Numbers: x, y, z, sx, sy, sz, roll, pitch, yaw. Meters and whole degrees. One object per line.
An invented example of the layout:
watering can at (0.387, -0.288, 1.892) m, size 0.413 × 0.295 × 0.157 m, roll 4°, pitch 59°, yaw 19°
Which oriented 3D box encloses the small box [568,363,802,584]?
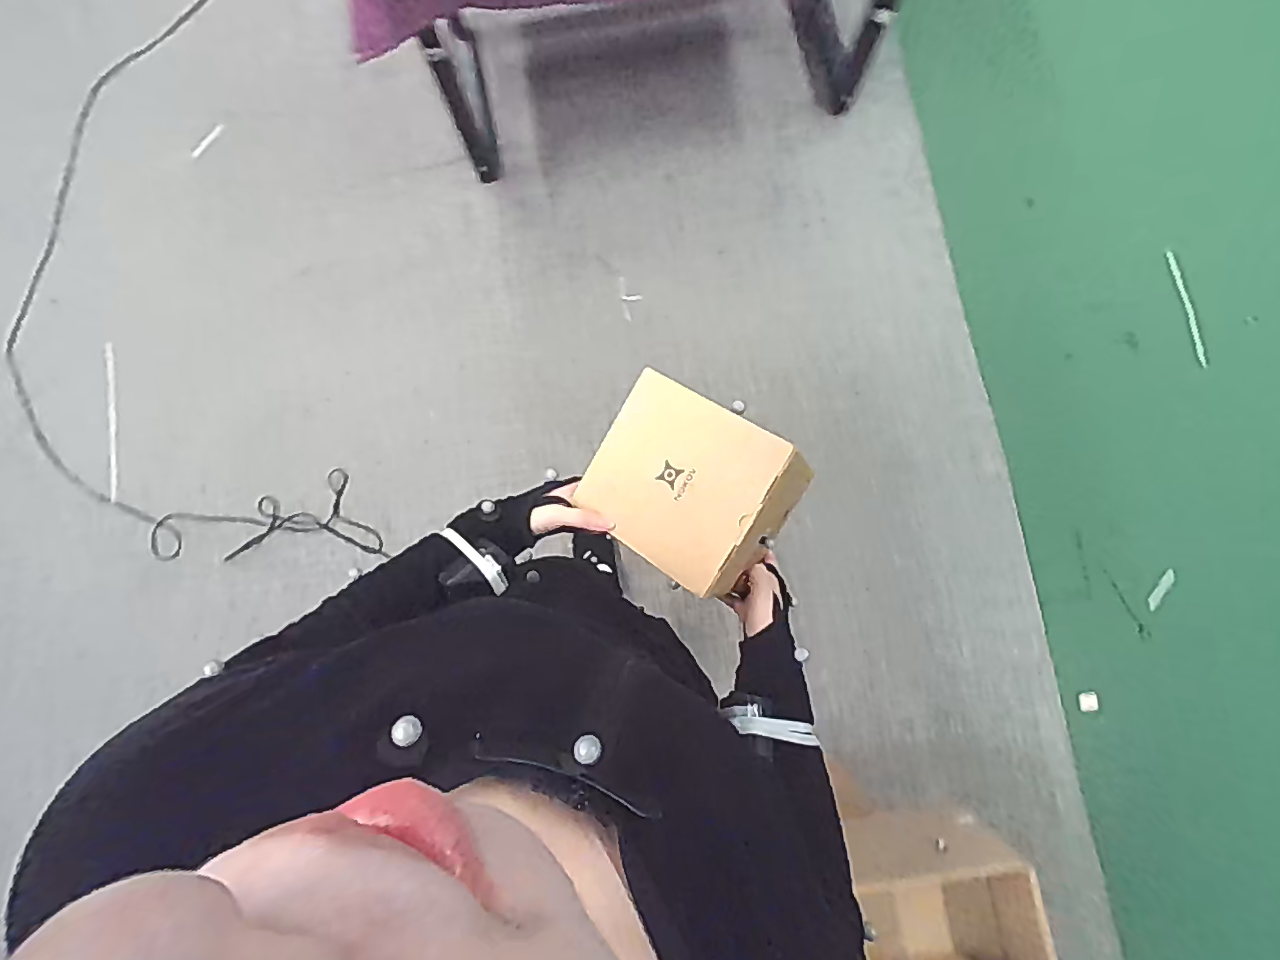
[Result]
small box at (0.059, -0.001, 0.603) m, size 0.179 × 0.176 × 0.168 m, roll 32°, pitch 96°, yaw 22°
